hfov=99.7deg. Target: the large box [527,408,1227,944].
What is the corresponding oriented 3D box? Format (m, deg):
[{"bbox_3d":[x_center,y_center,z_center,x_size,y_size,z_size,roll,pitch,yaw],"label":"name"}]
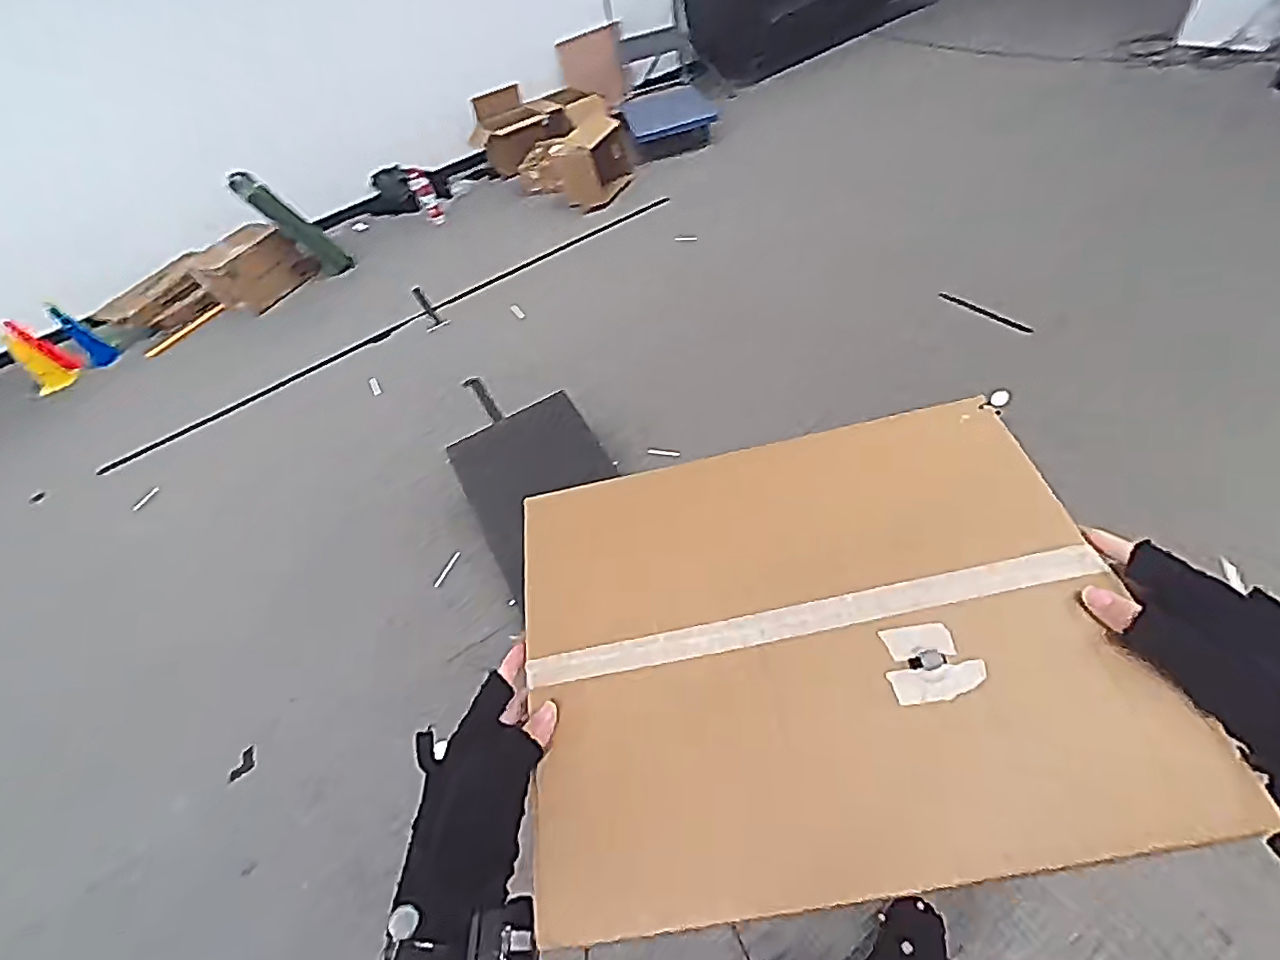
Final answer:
[{"bbox_3d":[0.138,0.187,0.516,0.408,0.320,0.320,-13,55,3],"label":"large box"}]
